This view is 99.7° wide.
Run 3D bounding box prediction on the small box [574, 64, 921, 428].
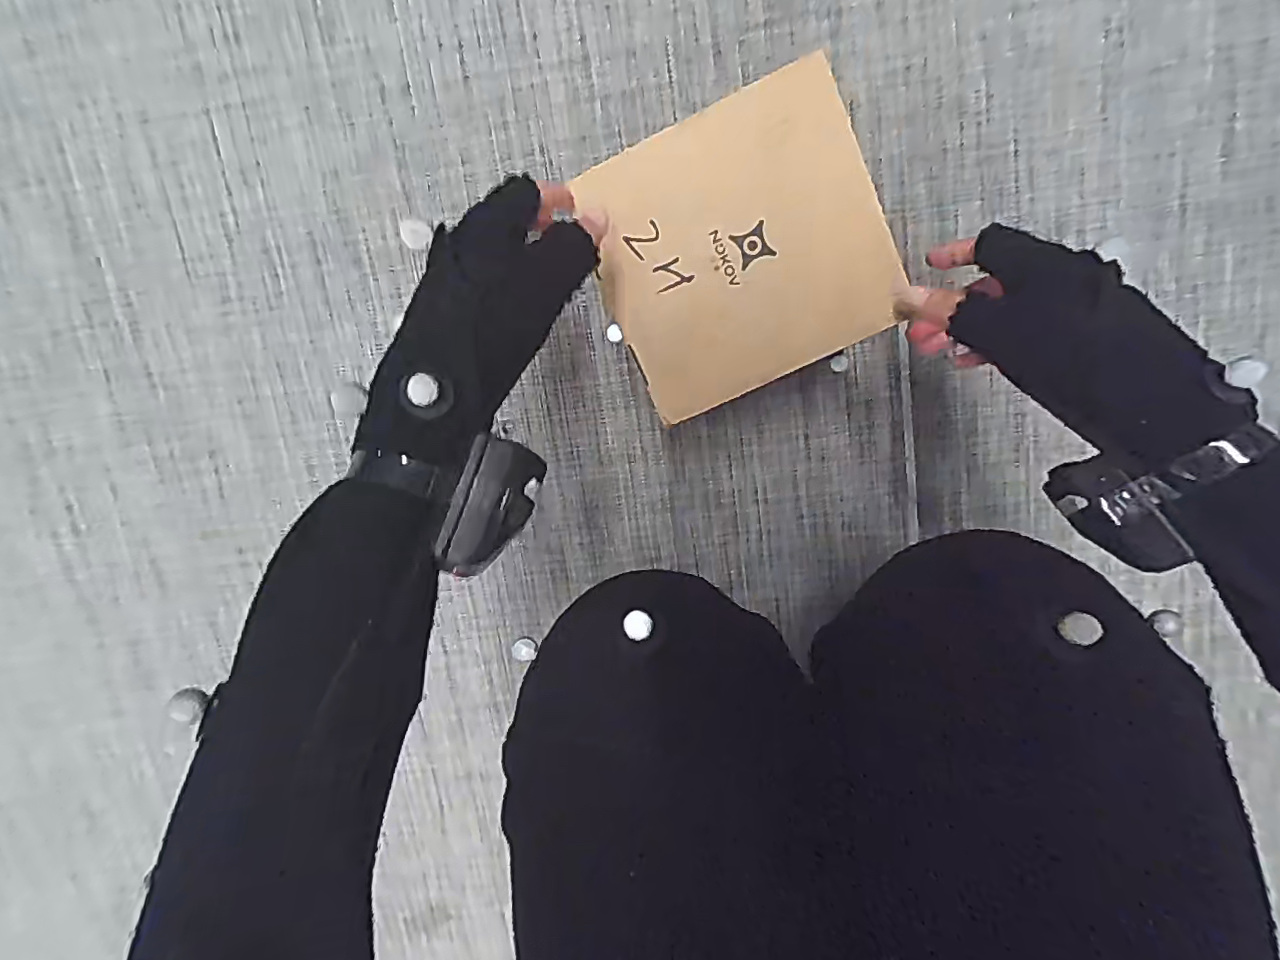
[{"bbox_3d":[0.071,-0.154,0.416,0.179,0.176,0.168,-23,97,8],"label":"small box"}]
